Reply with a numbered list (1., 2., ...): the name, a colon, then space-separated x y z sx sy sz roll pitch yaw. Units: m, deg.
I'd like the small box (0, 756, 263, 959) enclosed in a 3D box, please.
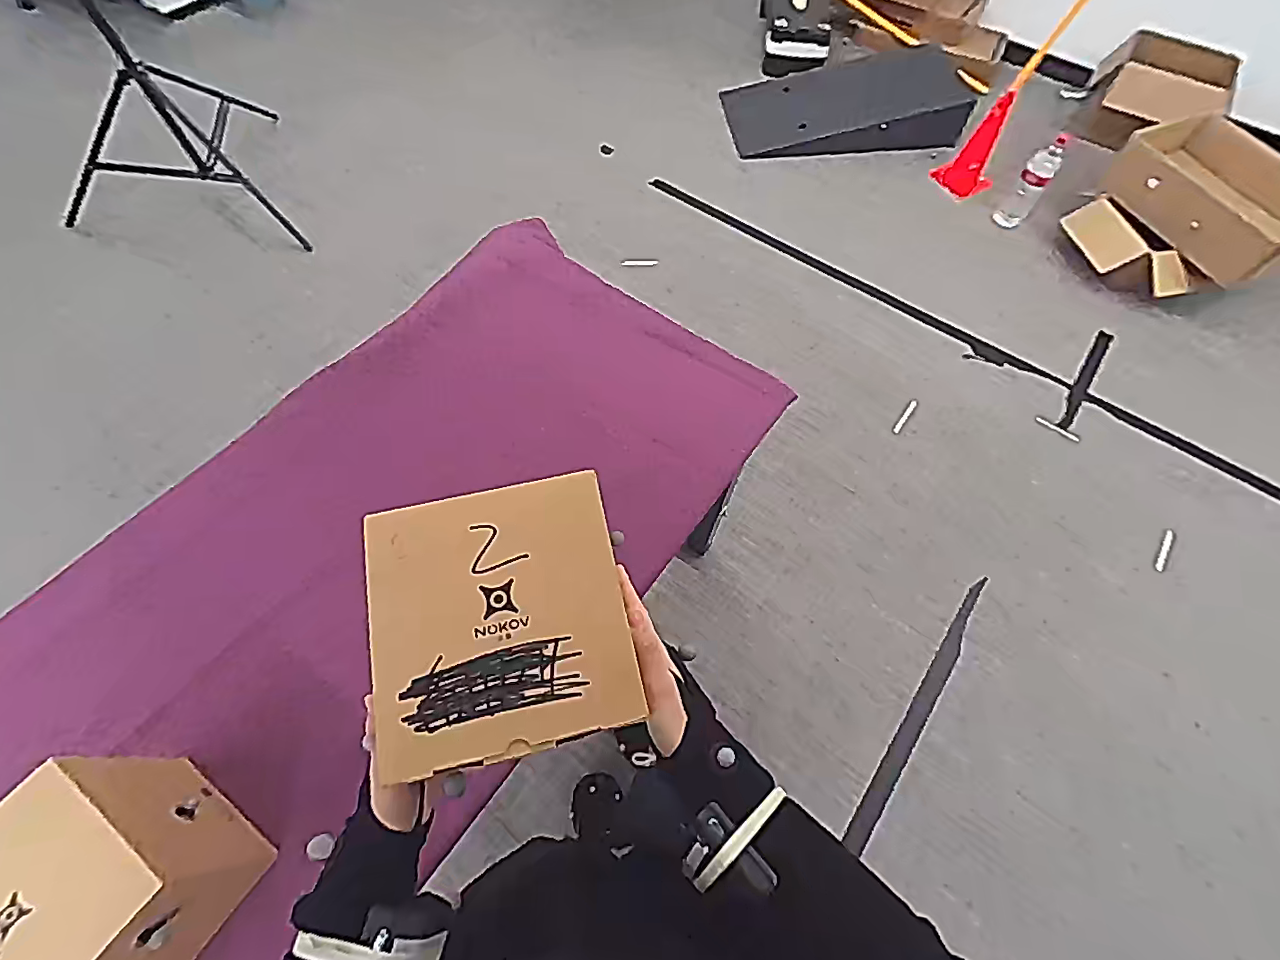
1. small box: -0.494 0.382 0.493 0.168 0.176 0.179 31 66 15
